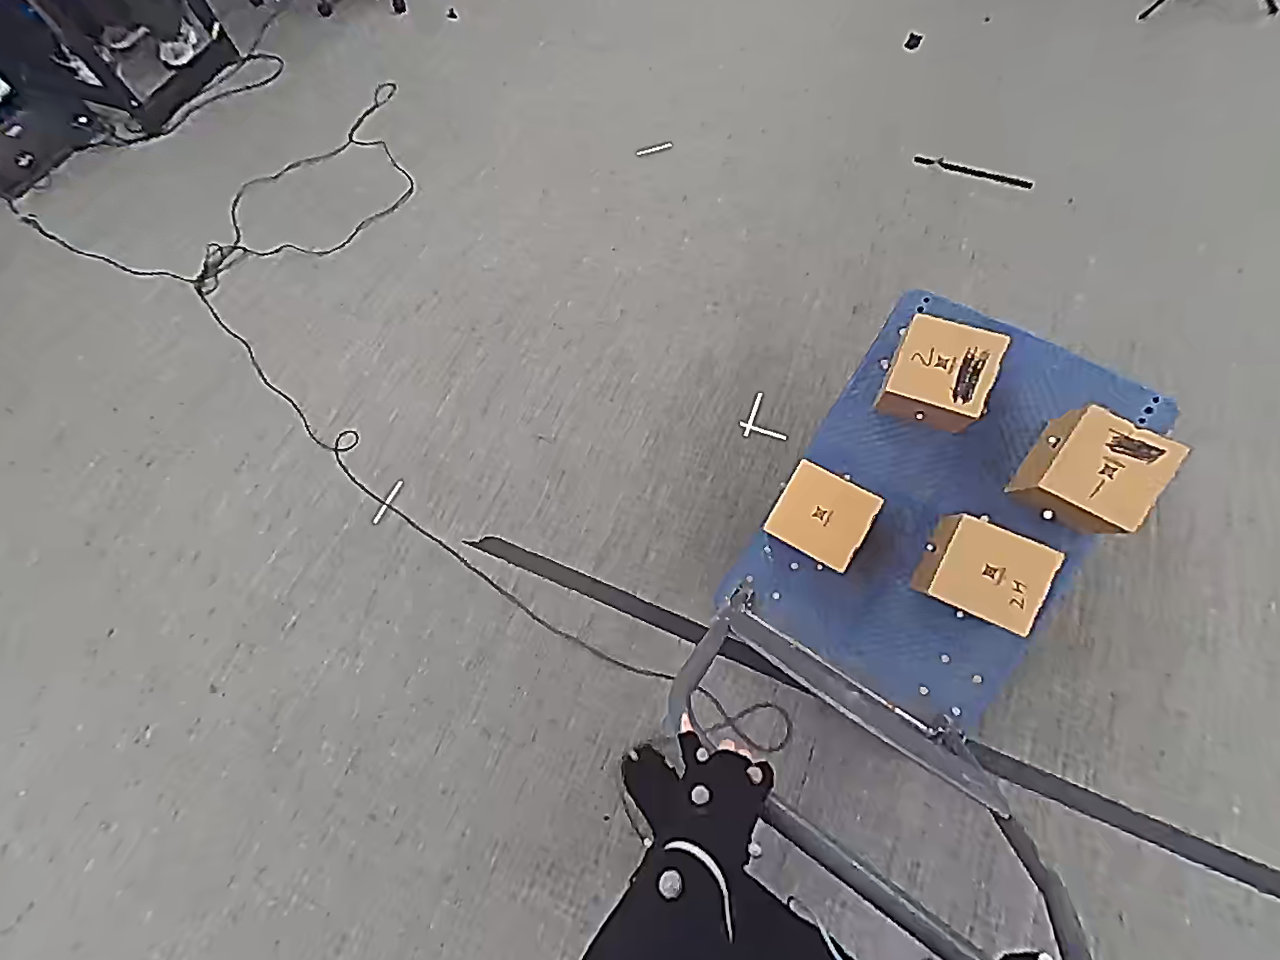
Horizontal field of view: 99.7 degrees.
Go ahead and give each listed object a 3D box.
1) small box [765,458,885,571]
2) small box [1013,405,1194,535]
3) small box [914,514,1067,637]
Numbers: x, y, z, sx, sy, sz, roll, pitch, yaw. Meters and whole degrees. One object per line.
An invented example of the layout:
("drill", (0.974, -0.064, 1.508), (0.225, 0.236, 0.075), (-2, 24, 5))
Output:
("small box", (0.379, 0.075, 1.137), (0.179, 0.176, 0.168), (30, 92, 15))
("small box", (0.847, -0.013, 1.014), (0.168, 0.176, 0.179), (33, 94, 17))
("small box", (0.660, 0.179, 1.046), (0.179, 0.176, 0.168), (26, 92, 17))
